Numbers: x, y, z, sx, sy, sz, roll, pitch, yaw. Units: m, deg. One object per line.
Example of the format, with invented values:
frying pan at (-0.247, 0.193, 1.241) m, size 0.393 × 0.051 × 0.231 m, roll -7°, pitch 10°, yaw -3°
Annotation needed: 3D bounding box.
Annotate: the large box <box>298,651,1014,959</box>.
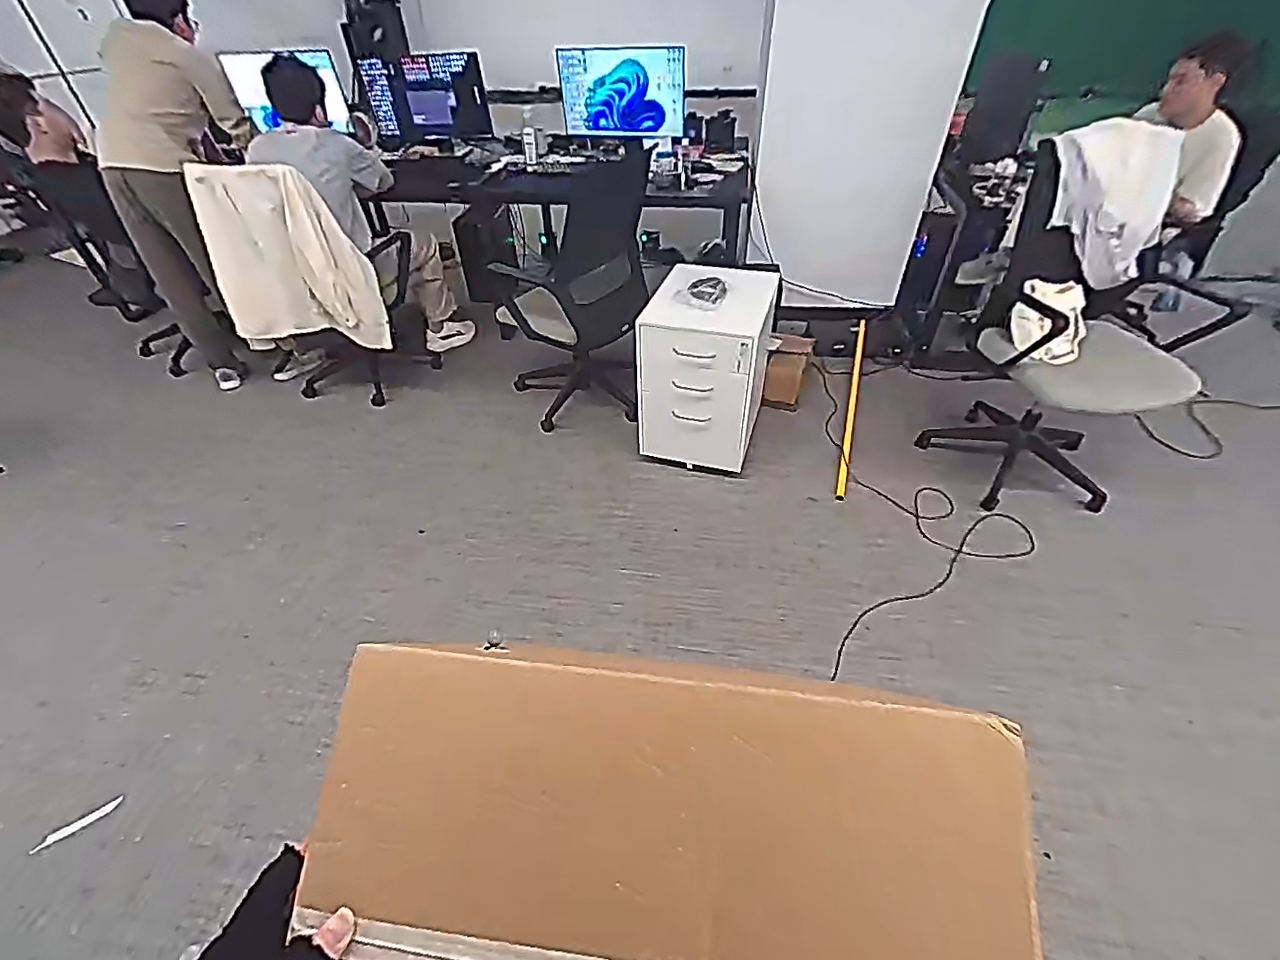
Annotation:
large box at (0.011, 0.318, 0.443) m, size 0.408 × 0.320 × 0.320 m, roll 4°, pitch 74°, yaw 7°
